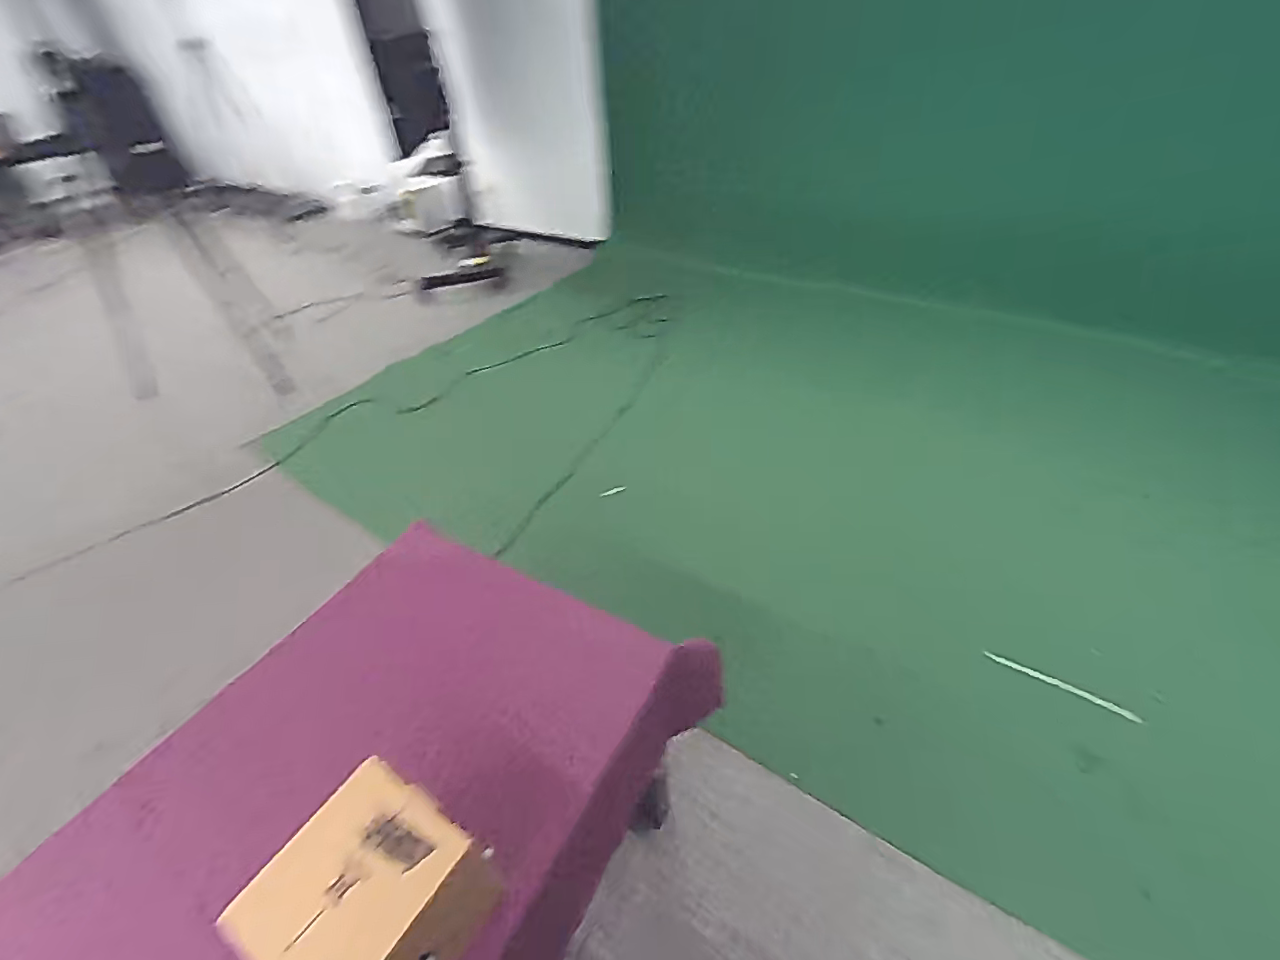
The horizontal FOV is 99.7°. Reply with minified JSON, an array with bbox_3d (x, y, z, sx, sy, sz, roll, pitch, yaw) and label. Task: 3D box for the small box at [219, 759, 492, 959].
[{"bbox_3d":[-0.281,0.451,0.579,0.168,0.176,0.179,20,47,26],"label":"small box"}]
